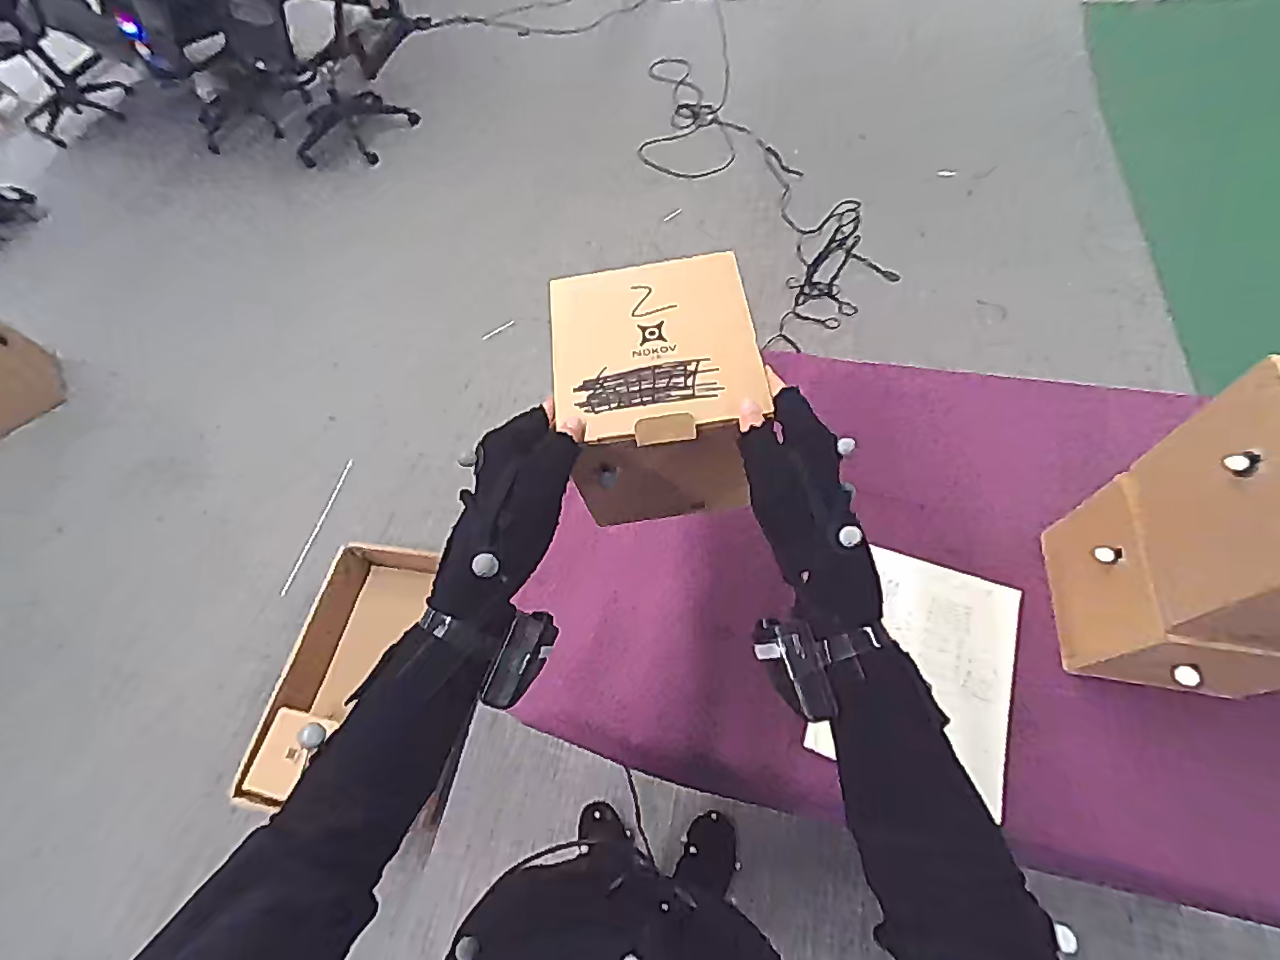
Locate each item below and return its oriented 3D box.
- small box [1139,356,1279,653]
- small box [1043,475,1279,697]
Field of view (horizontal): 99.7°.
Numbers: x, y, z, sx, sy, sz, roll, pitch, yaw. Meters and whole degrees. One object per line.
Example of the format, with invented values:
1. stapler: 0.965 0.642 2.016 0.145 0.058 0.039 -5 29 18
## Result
1. small box: 0.547 0.031 0.427 0.168 0.176 0.179 9 62 14
2. small box: 0.564 0.117 0.567 0.168 0.176 0.179 7 61 12
